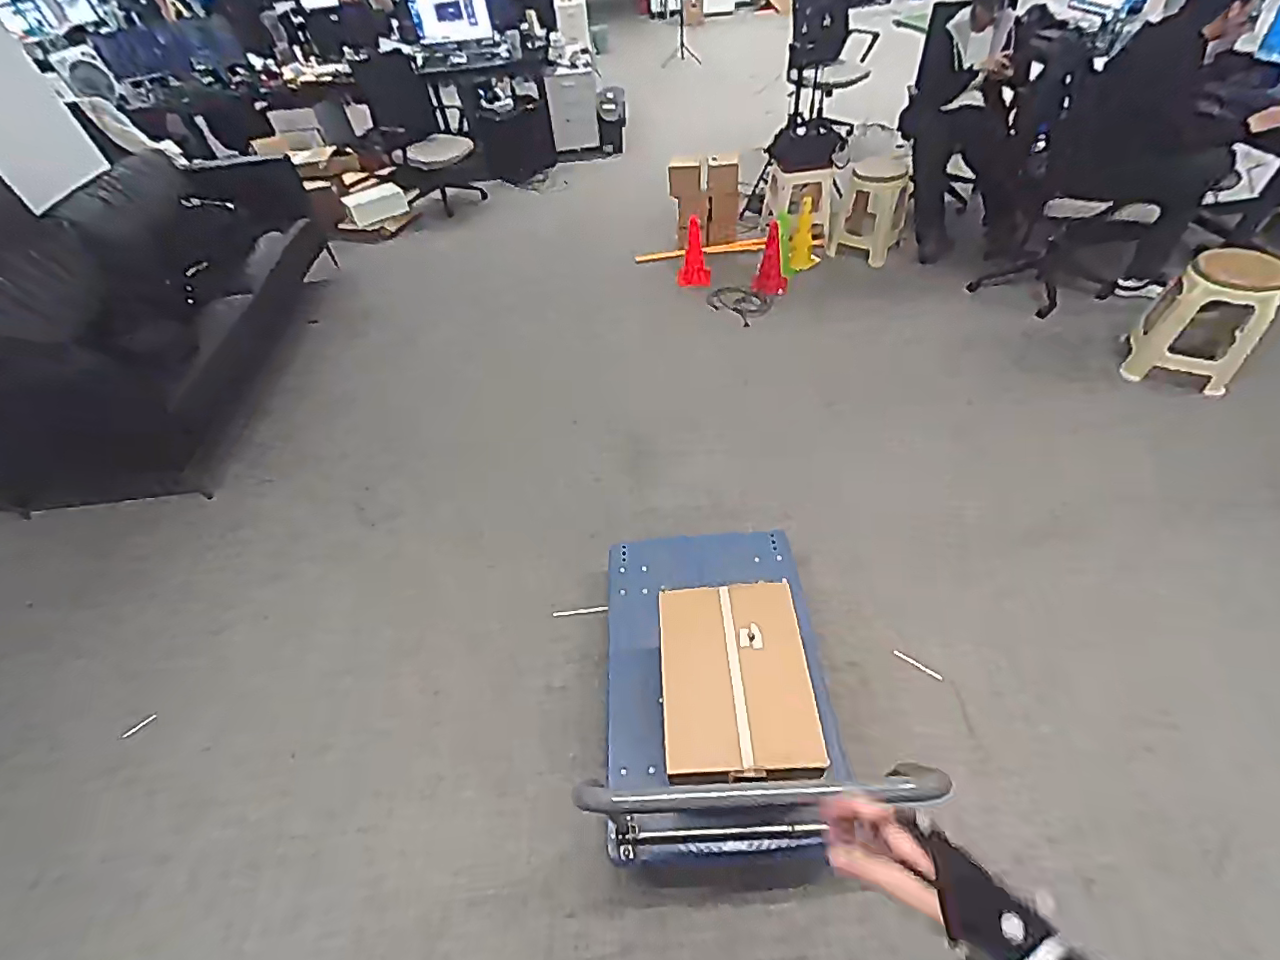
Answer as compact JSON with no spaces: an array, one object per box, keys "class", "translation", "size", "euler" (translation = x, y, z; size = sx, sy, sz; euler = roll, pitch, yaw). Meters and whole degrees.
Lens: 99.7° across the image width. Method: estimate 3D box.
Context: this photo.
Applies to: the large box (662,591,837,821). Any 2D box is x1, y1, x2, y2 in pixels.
[{"class":"large box","translation":[0.227,0.522,1.255],"size":[0.320,0.320,0.408],"euler":[-4,46,3]}]
